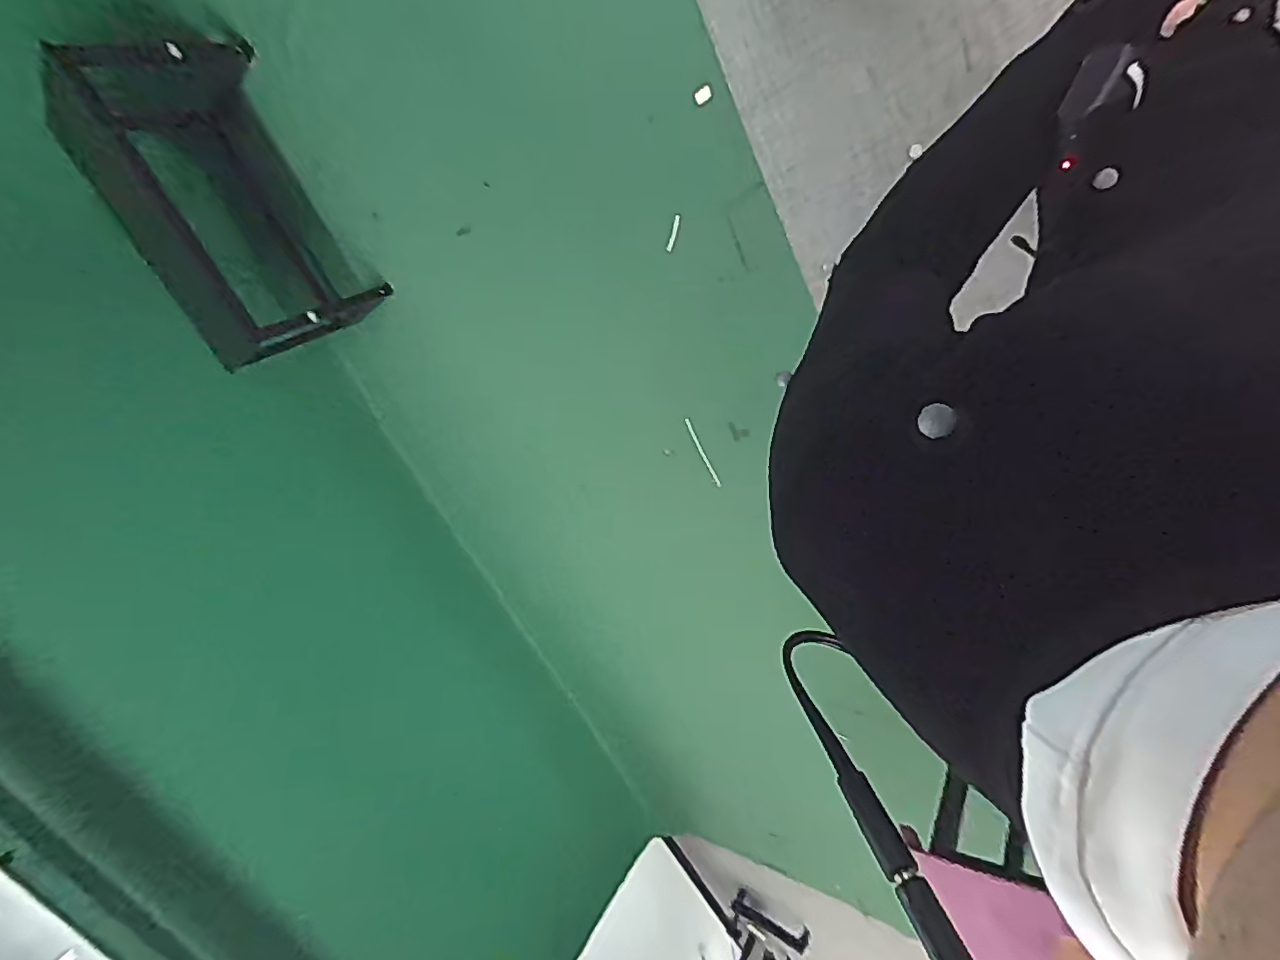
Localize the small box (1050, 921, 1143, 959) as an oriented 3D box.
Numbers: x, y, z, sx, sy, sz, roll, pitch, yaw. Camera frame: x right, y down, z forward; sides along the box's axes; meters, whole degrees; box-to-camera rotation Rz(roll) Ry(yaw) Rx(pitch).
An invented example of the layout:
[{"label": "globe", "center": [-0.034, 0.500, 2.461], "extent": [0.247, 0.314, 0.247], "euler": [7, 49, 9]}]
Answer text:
[{"label": "small box", "center": [1.076, 1.187, 1.258], "extent": [0.168, 0.176, 0.179], "euler": [-16, 113, 47]}]
